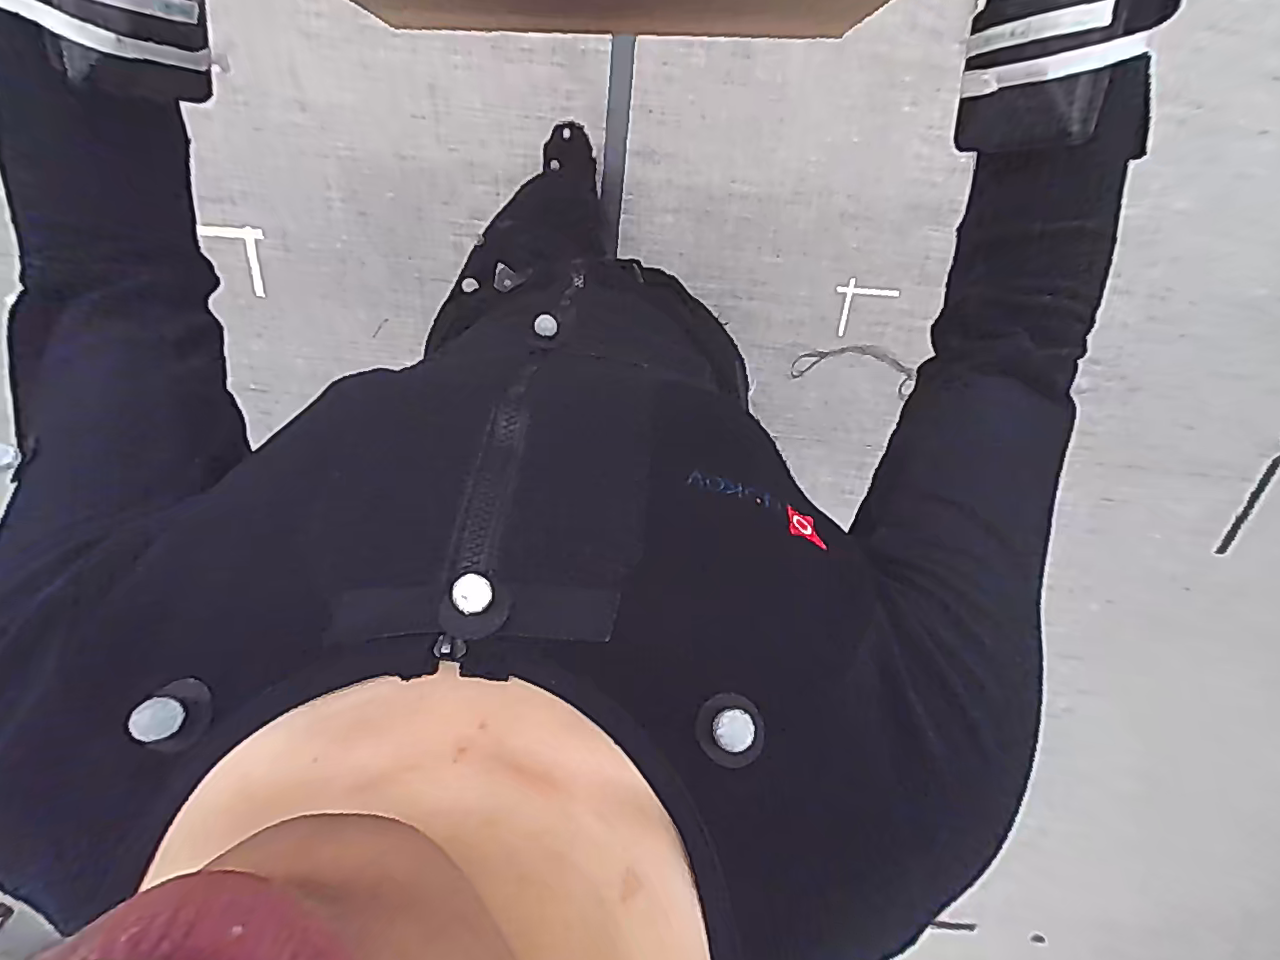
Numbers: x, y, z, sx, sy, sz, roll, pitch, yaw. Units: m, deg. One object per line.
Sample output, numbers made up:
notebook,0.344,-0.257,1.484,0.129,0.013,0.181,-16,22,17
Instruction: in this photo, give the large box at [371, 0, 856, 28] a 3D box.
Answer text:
large box,-0.020,-0.471,0.280,0.408,0.320,0.320,0,119,-1
